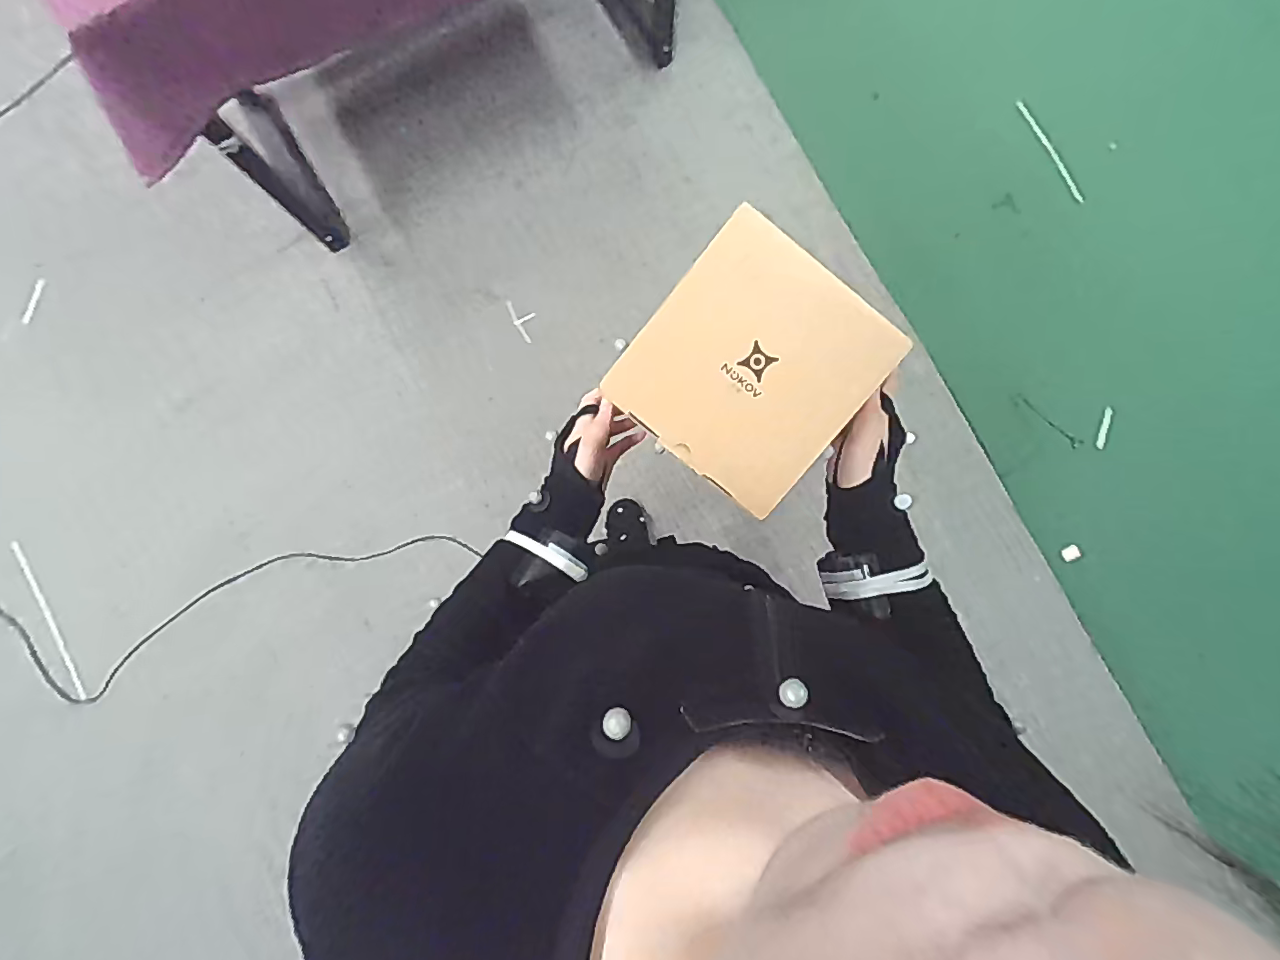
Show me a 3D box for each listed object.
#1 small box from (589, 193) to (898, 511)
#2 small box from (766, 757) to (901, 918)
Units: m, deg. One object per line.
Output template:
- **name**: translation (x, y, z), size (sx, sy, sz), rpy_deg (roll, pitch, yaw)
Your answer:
- **small box**: translation (0.077, -0.101, 0.479), size (0.168, 0.176, 0.179), rpy_deg (39, 97, -2)
- **small box**: translation (0.369, 0.688, 1.060), size (0.168, 0.176, 0.179), rpy_deg (-22, 87, -2)
